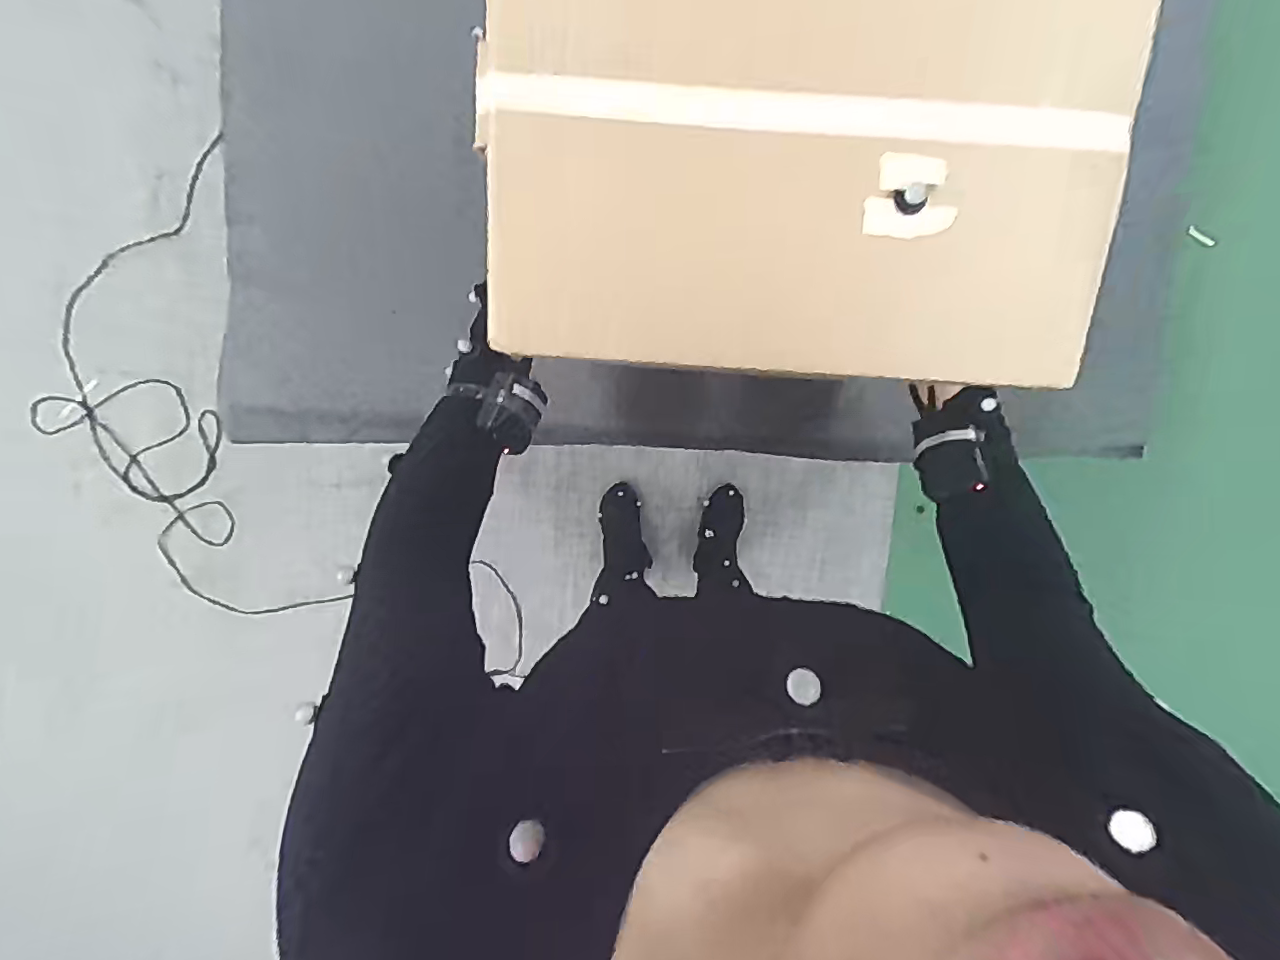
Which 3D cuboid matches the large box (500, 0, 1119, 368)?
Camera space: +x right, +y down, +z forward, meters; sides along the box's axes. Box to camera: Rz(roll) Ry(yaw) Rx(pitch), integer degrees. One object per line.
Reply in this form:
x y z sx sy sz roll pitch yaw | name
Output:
0.103 -0.270 0.505 0.408 0.320 0.320 3 102 -1 | large box
